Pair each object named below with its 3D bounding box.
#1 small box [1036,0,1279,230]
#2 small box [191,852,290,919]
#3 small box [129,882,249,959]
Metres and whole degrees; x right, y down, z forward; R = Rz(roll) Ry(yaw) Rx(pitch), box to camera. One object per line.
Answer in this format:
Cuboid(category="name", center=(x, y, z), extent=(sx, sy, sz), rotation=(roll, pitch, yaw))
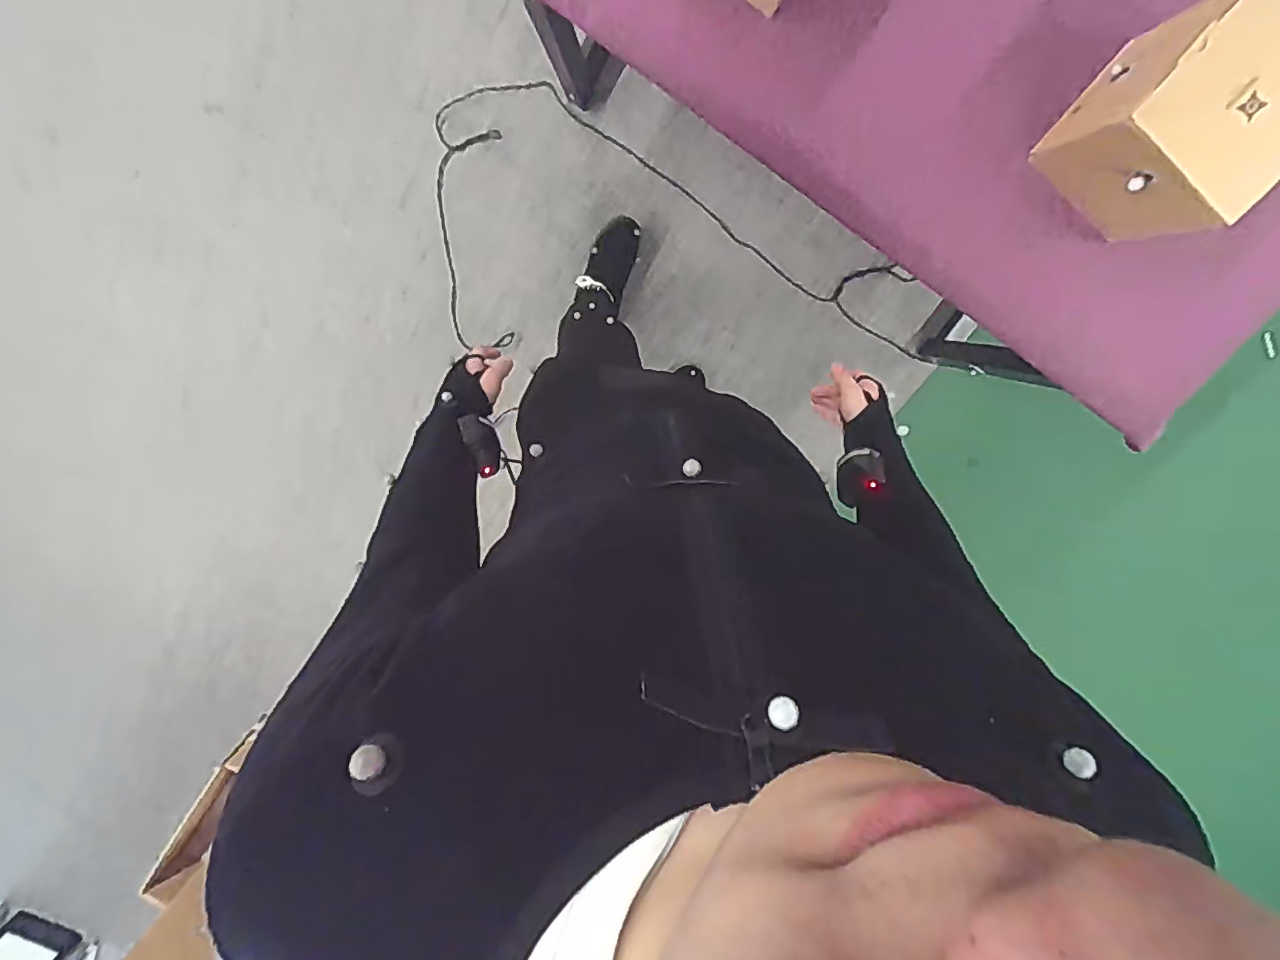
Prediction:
Cuboid(category="small box", center=(0.635, -0.420, 0.637), extent=(0.179, 0.176, 0.168), rotation=(37, 106, -9))
Cuboid(category="small box", center=(-1.139, 1.117, 1.521), extent=(0.179, 0.176, 0.168), rotation=(38, 105, -10))
Cuboid(category="small box", center=(-1.146, 1.169, 1.366), extent=(0.179, 0.176, 0.168), rotation=(37, 104, -11))
